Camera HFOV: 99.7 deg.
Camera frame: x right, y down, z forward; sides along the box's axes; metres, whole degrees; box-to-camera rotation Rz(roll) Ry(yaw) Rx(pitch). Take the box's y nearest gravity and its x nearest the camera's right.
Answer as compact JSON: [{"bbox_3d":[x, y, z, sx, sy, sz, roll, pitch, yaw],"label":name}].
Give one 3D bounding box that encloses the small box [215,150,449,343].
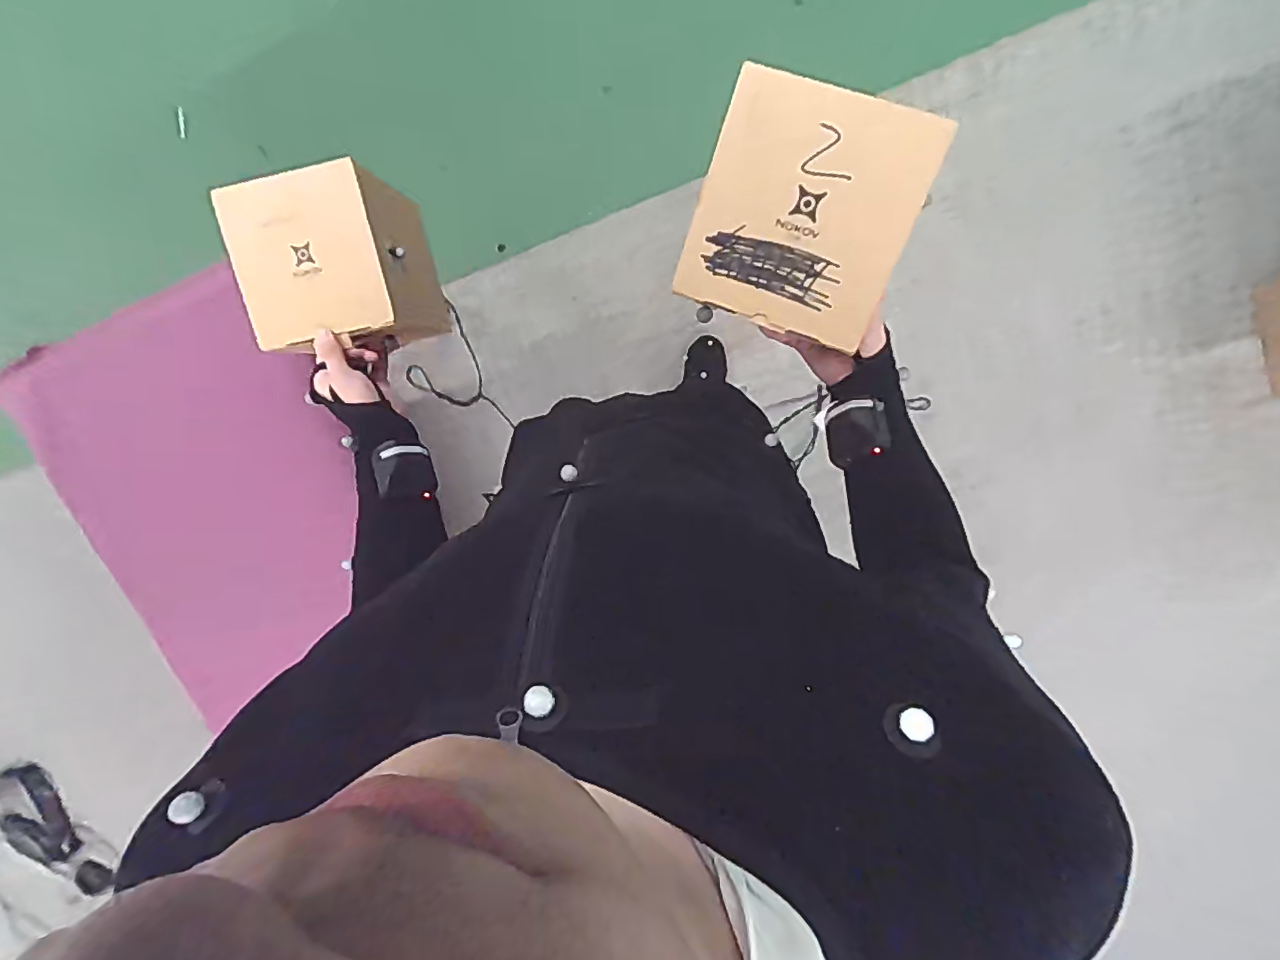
[{"bbox_3d":[-0.359,-0.270,0.669,0.168,0.176,0.179,-10,102,4],"label":"small box"}]
